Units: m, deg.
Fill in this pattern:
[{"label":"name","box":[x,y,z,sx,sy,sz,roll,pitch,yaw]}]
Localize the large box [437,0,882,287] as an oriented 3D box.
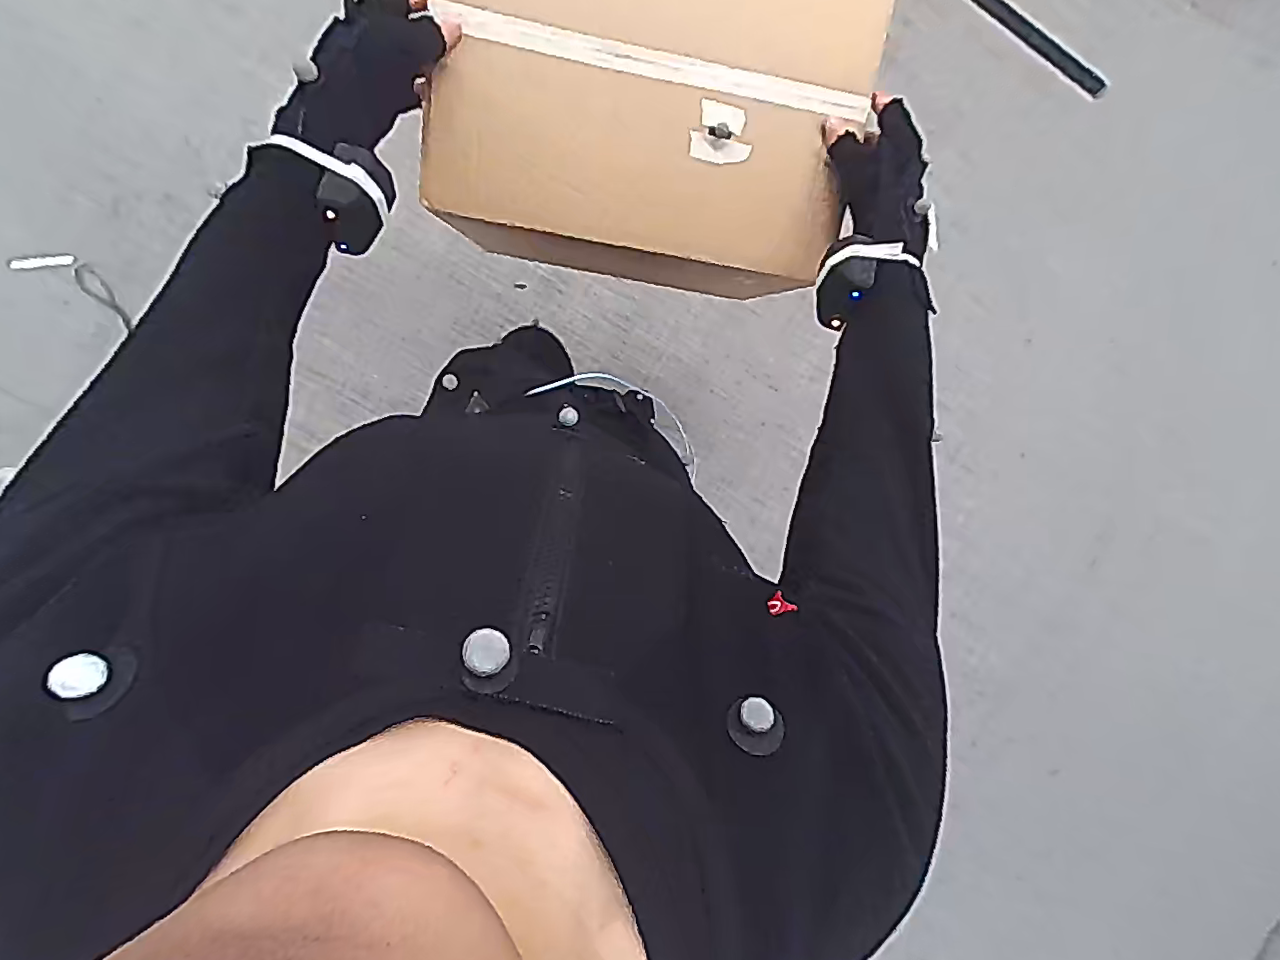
[{"label":"large box","box":[0.004,-0.428,0.647,0.408,0.320,0.320,7,107,-8]}]
